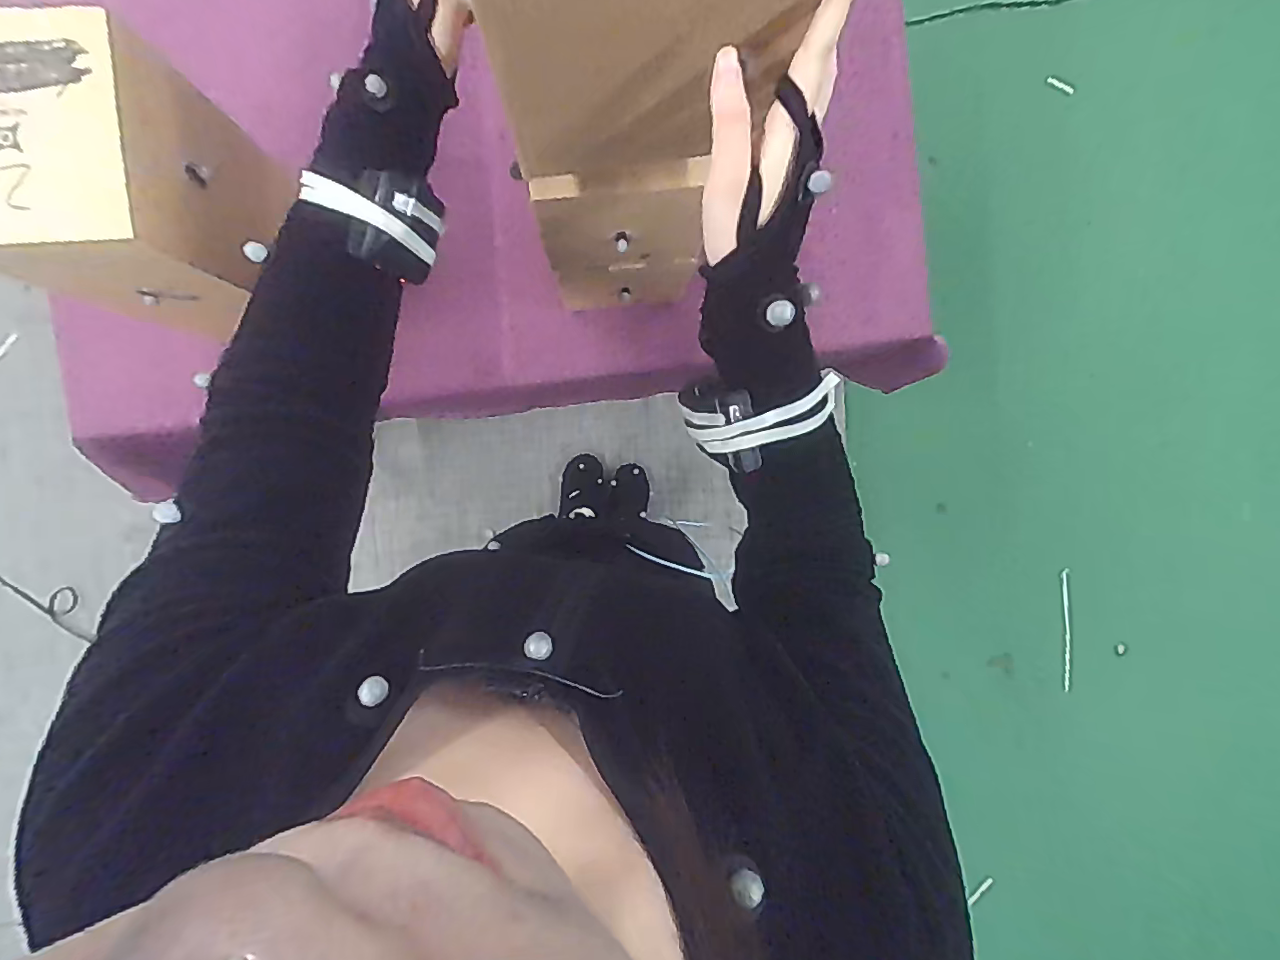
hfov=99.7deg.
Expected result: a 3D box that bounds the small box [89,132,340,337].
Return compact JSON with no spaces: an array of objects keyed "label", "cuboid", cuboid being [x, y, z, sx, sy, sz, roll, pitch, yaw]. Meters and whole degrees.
[{"label":"small box","cuboid":[-0.488,-0.280,0.649,0.168,0.176,0.179,-4,94,-4]}]

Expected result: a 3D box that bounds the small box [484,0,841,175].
[{"label":"small box","cuboid":[-0.001,-0.306,0.310,0.179,0.176,0.168,-9,92,-3]}]

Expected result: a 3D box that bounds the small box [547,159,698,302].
[{"label":"small box","cuboid":[-0.026,-0.332,0.681,0.168,0.176,0.179,-6,94,-4]}]
